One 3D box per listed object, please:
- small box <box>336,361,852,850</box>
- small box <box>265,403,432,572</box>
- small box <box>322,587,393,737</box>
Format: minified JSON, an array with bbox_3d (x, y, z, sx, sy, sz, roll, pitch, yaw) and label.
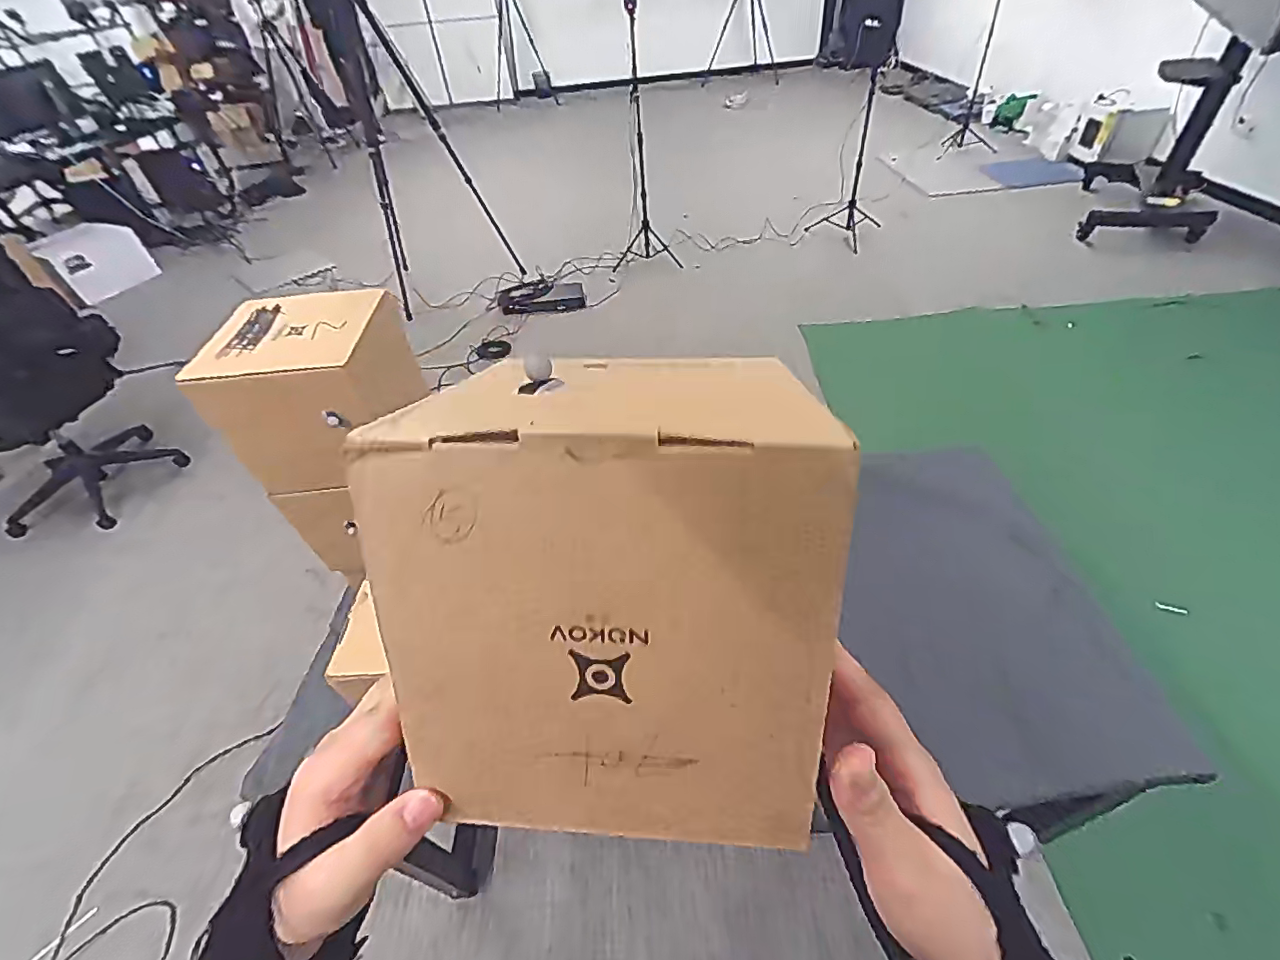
[{"bbox_3d":[-0.010,0.040,0.272,0.168,0.179,0.176,2,23,6],"label":"small box"},{"bbox_3d":[-0.373,0.013,0.772,0.179,0.176,0.168,-6,46,1],"label":"small box"},{"bbox_3d":[-0.192,0.174,0.590,0.179,0.176,0.168,-3,45,4],"label":"small box"}]
